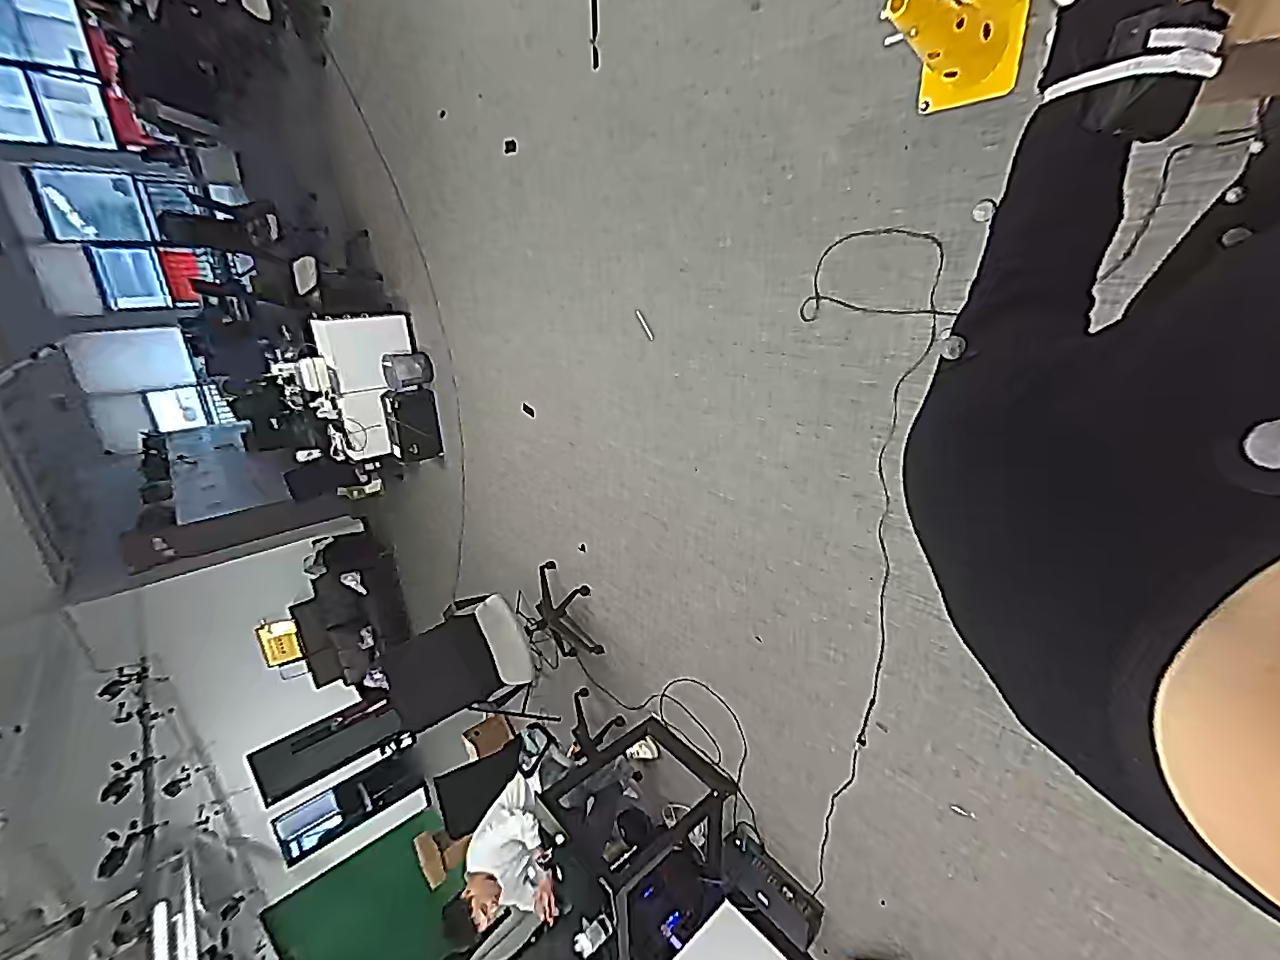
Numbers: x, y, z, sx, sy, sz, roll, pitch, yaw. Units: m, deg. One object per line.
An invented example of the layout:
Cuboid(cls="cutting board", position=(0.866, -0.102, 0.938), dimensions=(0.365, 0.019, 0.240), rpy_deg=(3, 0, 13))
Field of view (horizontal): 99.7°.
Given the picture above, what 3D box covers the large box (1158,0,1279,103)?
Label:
Cuboid(cls="large box", position=(0.579, -0.417, 0.261), dimensions=(0.408, 0.320, 0.320), rpy_deg=(22, 125, 40))
